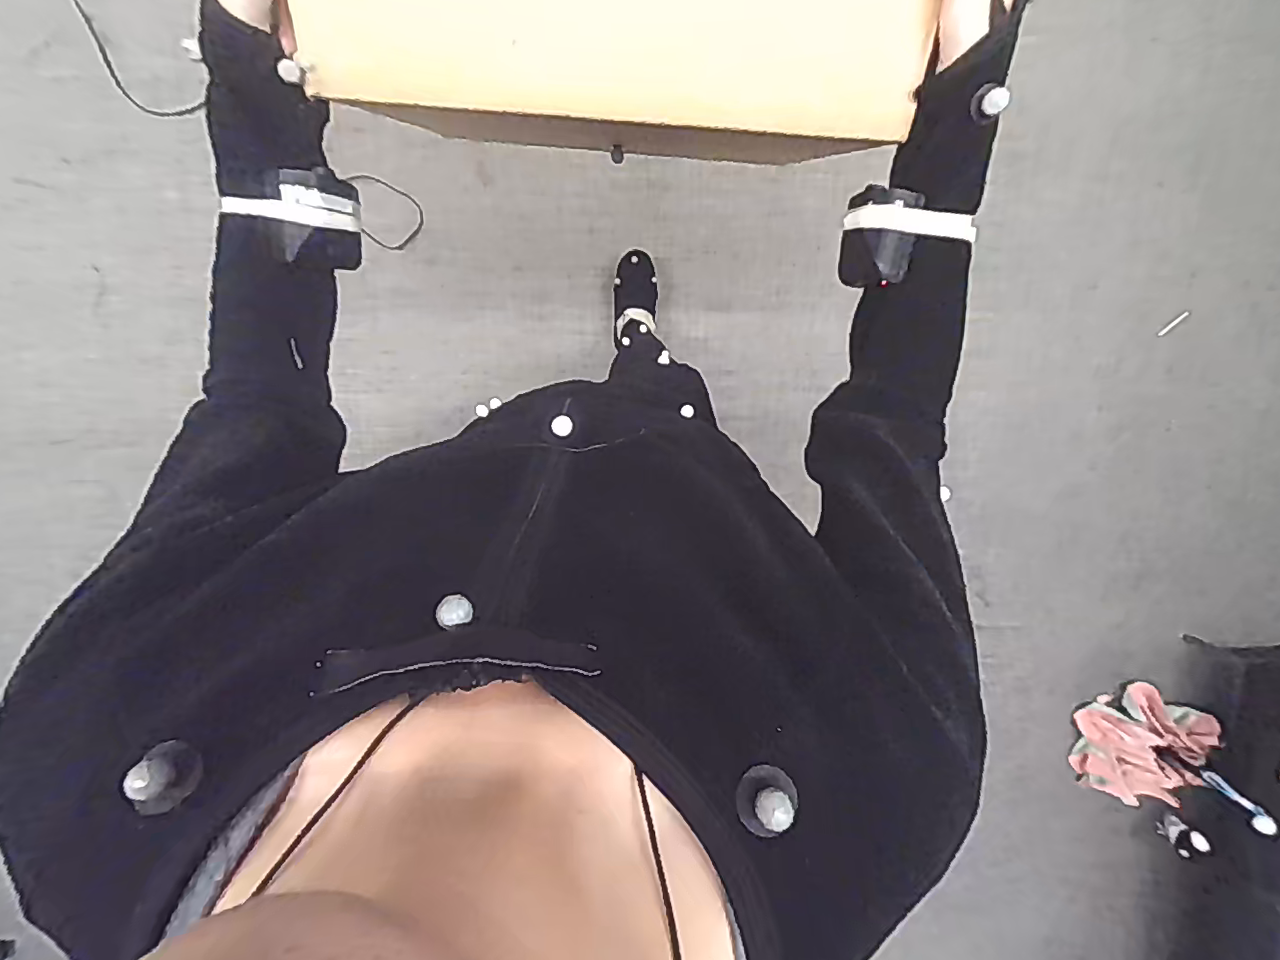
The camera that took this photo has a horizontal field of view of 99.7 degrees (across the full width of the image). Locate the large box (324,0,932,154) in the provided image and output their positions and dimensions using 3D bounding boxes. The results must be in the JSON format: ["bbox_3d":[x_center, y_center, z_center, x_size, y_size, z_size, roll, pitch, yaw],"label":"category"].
[{"bbox_3d":[-0.003,-0.460,0.442,0.408,0.320,0.320,2,117,-2],"label":"large box"}]
